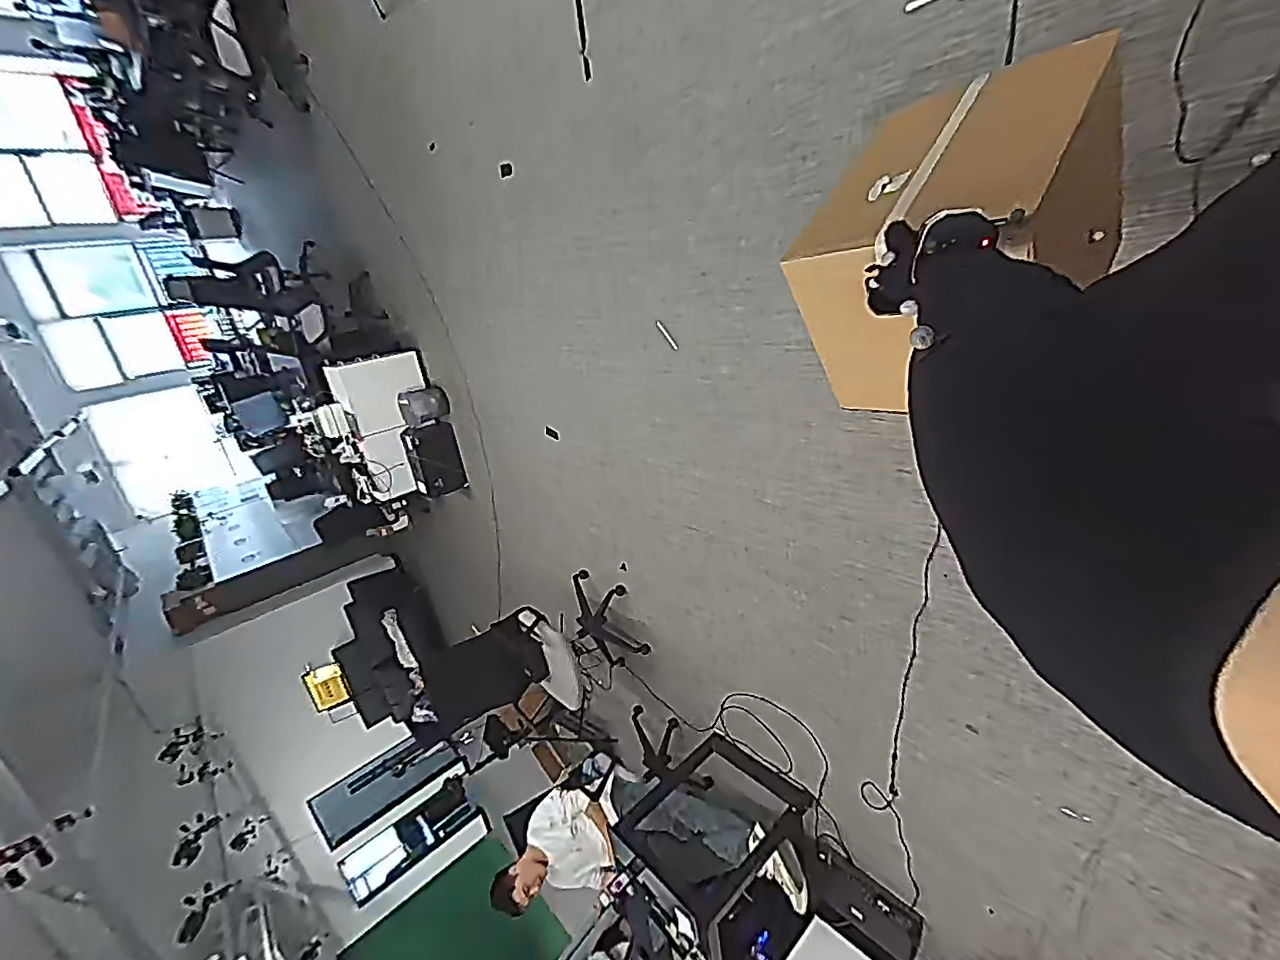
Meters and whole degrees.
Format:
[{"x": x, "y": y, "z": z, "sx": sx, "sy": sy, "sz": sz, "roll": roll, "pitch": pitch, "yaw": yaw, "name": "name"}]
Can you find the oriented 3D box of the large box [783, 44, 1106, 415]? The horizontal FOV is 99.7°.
[{"x": 0.490, "y": -0.356, "z": 0.846, "sx": 0.320, "sy": 0.408, "sz": 0.320, "roll": 11, "pitch": 151, "yaw": 47, "name": "large box"}]
